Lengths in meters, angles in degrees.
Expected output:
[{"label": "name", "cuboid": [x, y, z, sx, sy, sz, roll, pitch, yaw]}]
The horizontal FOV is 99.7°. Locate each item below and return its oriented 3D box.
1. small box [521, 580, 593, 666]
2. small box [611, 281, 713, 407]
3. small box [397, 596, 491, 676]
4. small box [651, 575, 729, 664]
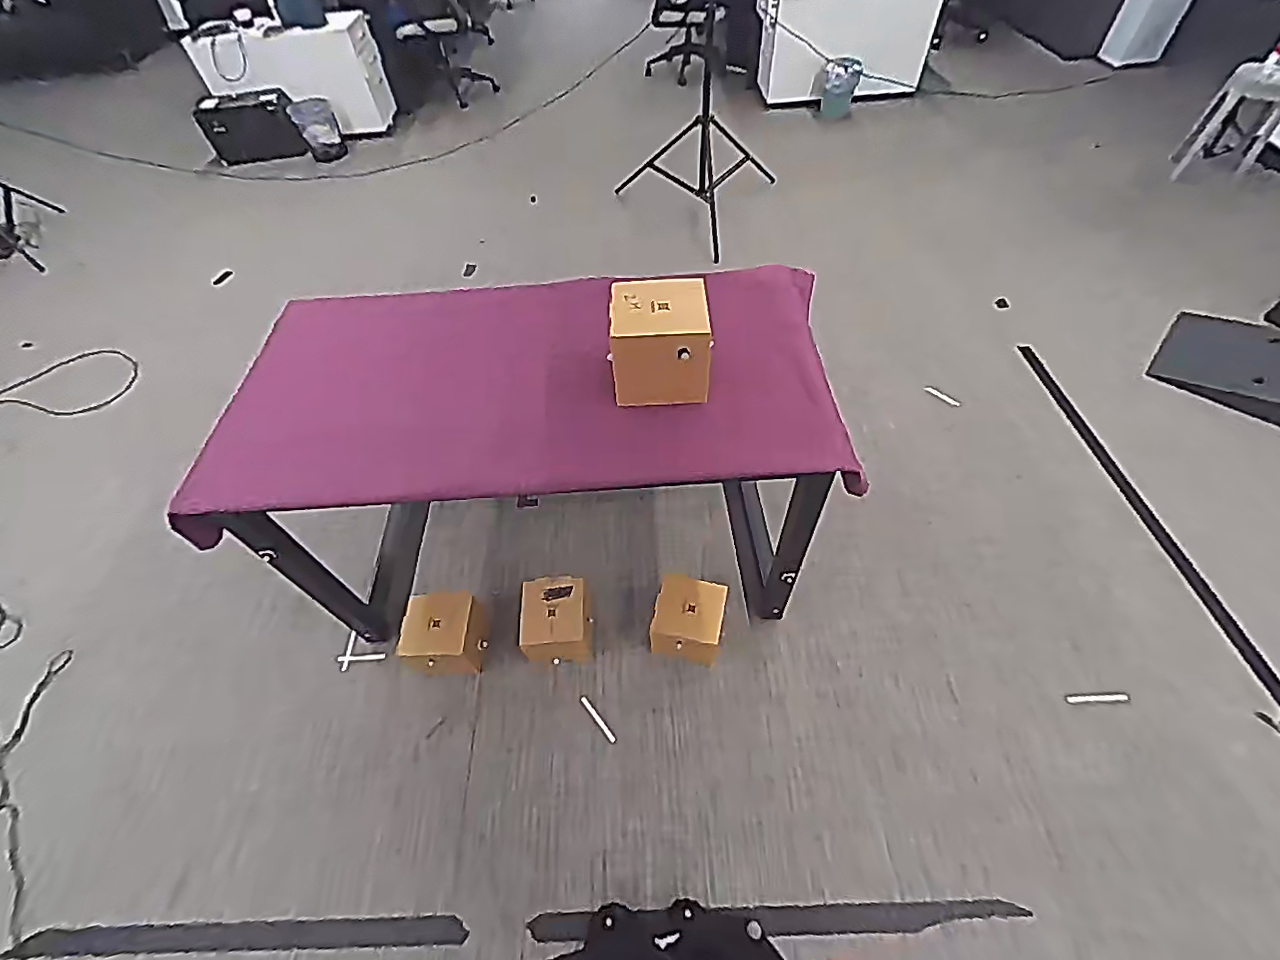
[{"label": "small box", "cuboid": [-0.220, 0.391, 1.473, 0.168, 0.176, 0.179, -5, 54, 1]}, {"label": "small box", "cuboid": [0.041, -0.255, 1.028, 0.179, 0.176, 0.168, -3, 52, 3]}, {"label": "small box", "cuboid": [-0.524, 0.426, 1.470, 0.179, 0.176, 0.168, -1, 54, 2]}, {"label": "small box", "cuboid": [0.136, 0.381, 1.459, 0.179, 0.176, 0.168, 9, 55, 12]}]
